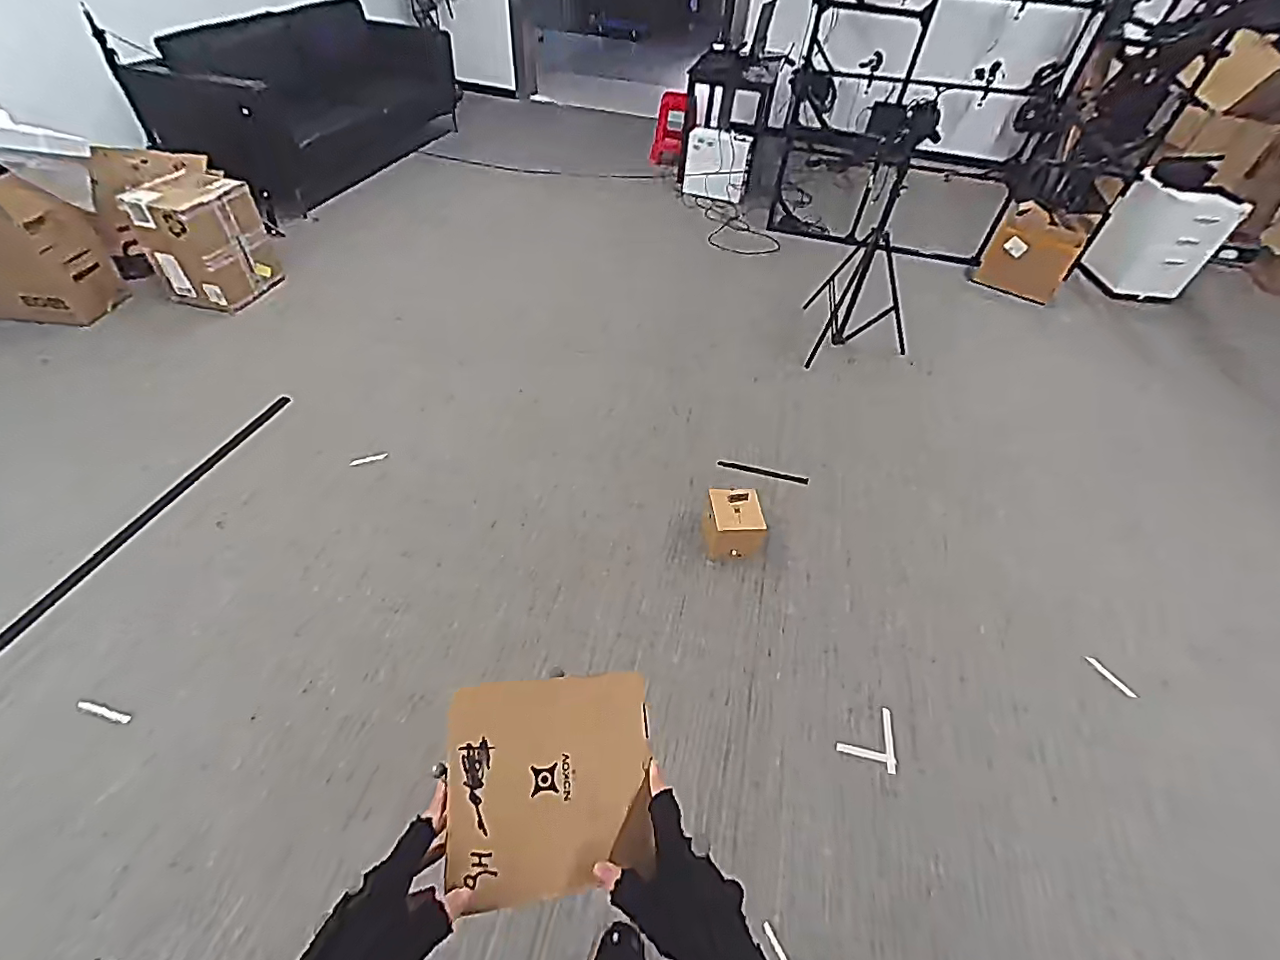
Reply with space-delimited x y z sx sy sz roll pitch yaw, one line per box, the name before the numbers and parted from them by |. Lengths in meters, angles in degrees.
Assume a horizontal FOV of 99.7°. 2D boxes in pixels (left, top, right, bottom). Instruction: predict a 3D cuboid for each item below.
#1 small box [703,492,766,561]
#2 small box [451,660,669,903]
small box | 0.318 0.159 1.861 0.168 0.176 0.179 -1 47 -6
small box | -0.089 0.273 0.527 0.179 0.176 0.168 1 66 -18
